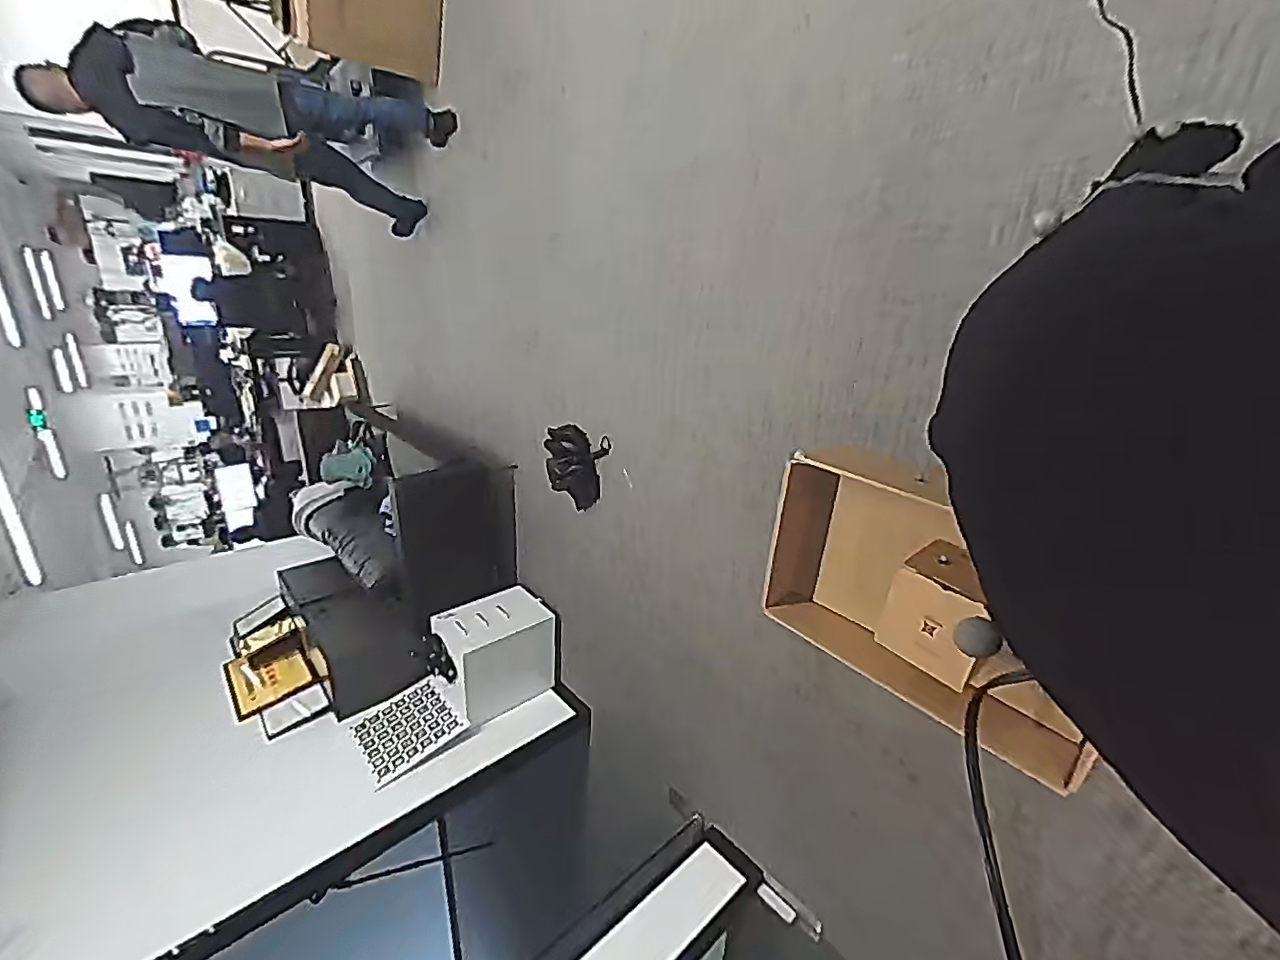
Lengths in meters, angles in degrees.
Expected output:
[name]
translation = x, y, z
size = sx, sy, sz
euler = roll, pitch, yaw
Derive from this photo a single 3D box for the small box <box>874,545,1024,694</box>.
[small box]
translation = 0.567, 0.243, 0.990
size = 0.168, 0.176, 0.179
euler = 30, 125, 43
